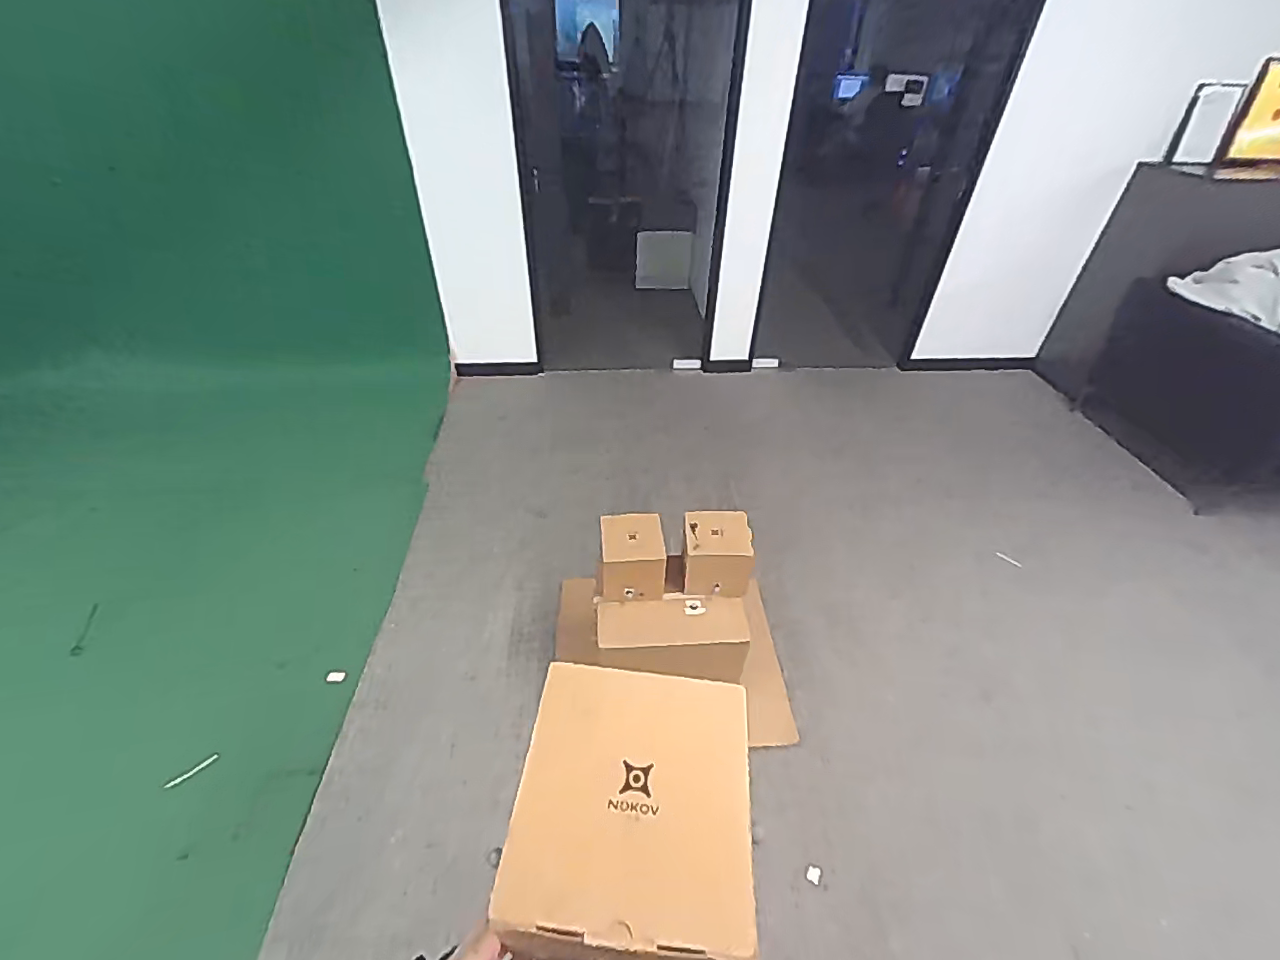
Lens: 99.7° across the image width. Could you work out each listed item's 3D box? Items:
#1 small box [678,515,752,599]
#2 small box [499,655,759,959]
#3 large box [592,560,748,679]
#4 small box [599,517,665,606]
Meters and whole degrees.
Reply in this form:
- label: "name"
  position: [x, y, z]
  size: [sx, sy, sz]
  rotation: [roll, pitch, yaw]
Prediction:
- label: "small box"
  position: [0.202, 0.216, 1.504]
  size: [0.179, 0.176, 0.168]
  rotation: [2, 39, 0]
- label: "small box"
  position: [-0.005, 0.274, 0.444]
  size: [0.168, 0.176, 0.179]
  rotation: [7, 43, 2]
- label: "large box"
  position: [0.065, 0.453, 1.595]
  size: [0.408, 0.320, 0.320]
  rotation: [-1, 40, -6]
- label: "small box"
  position: [-0.028, 0.223, 1.488]
  size: [0.168, 0.176, 0.179]
  rotation: [-3, 39, -6]
